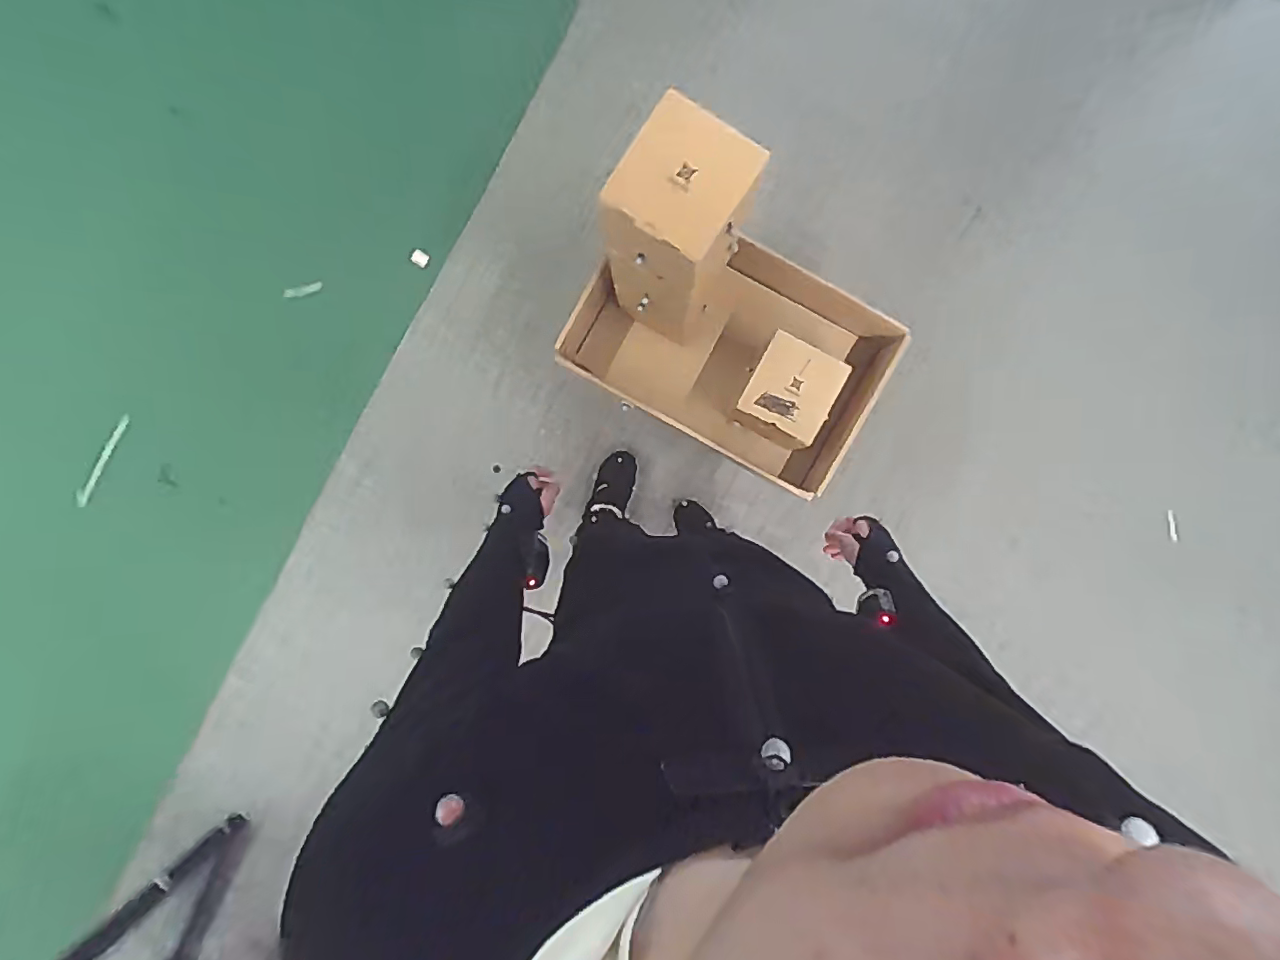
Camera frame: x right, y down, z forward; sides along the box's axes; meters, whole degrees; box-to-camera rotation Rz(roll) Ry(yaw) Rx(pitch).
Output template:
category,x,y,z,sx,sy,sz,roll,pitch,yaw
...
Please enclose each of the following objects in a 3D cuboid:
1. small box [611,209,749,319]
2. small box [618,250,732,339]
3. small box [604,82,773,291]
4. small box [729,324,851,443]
category,x,y,z,sx,sy,sz,roll,pitch,yaw
small box,0.065,-0.419,0.959,0.168,0.176,0.179,33,92,1
small box,0.069,-0.423,1.122,0.168,0.176,0.179,31,92,2
small box,0.064,-0.415,0.797,0.168,0.176,0.179,35,92,0
small box,0.298,-0.188,1.120,0.168,0.176,0.179,29,91,0
